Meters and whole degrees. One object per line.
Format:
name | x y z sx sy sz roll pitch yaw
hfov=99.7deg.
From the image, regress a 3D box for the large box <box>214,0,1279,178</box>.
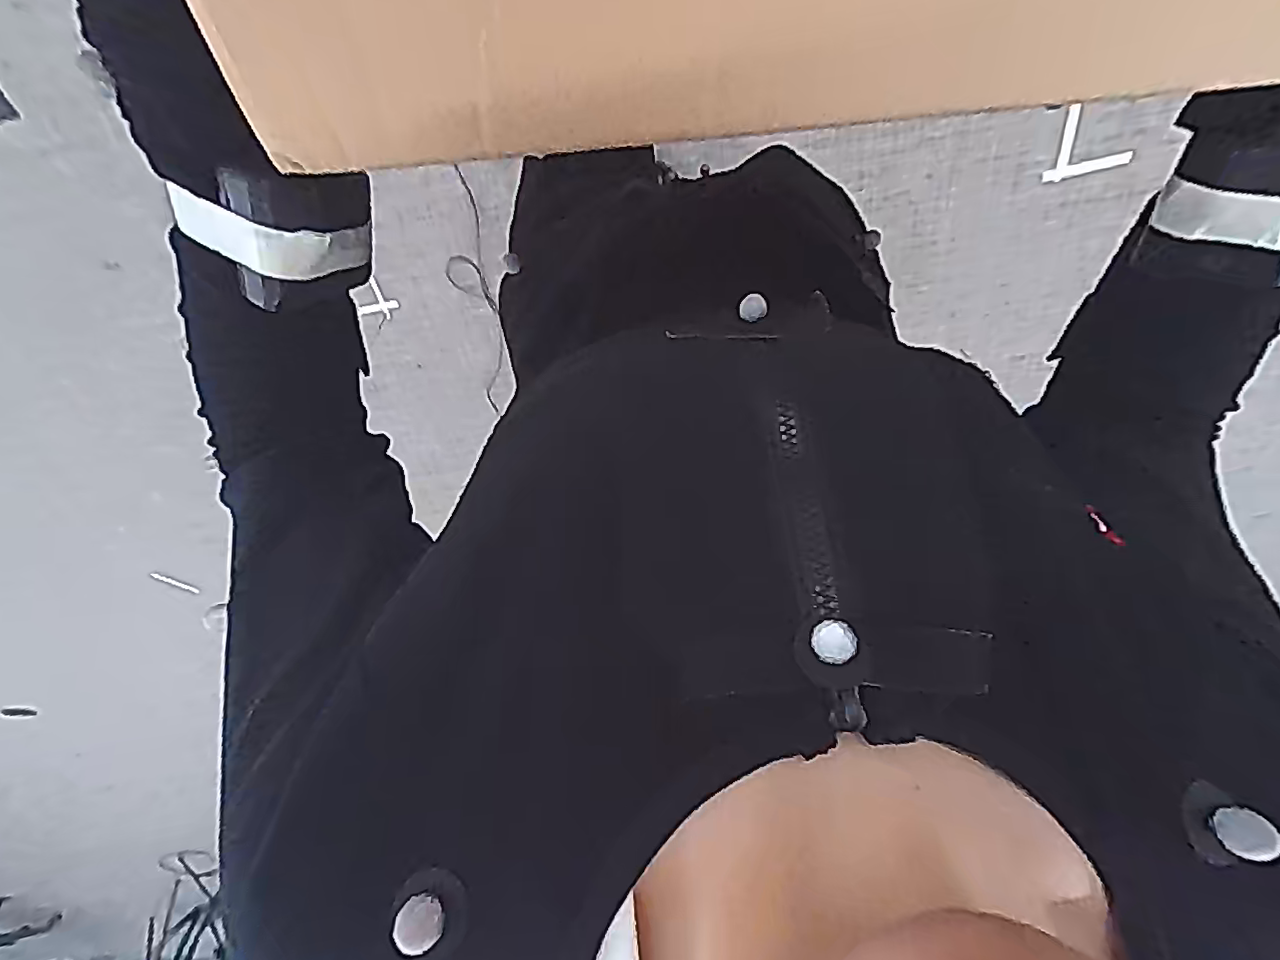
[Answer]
large box | 0.042 -0.353 0.200 0.408 0.320 0.320 -5 137 1
